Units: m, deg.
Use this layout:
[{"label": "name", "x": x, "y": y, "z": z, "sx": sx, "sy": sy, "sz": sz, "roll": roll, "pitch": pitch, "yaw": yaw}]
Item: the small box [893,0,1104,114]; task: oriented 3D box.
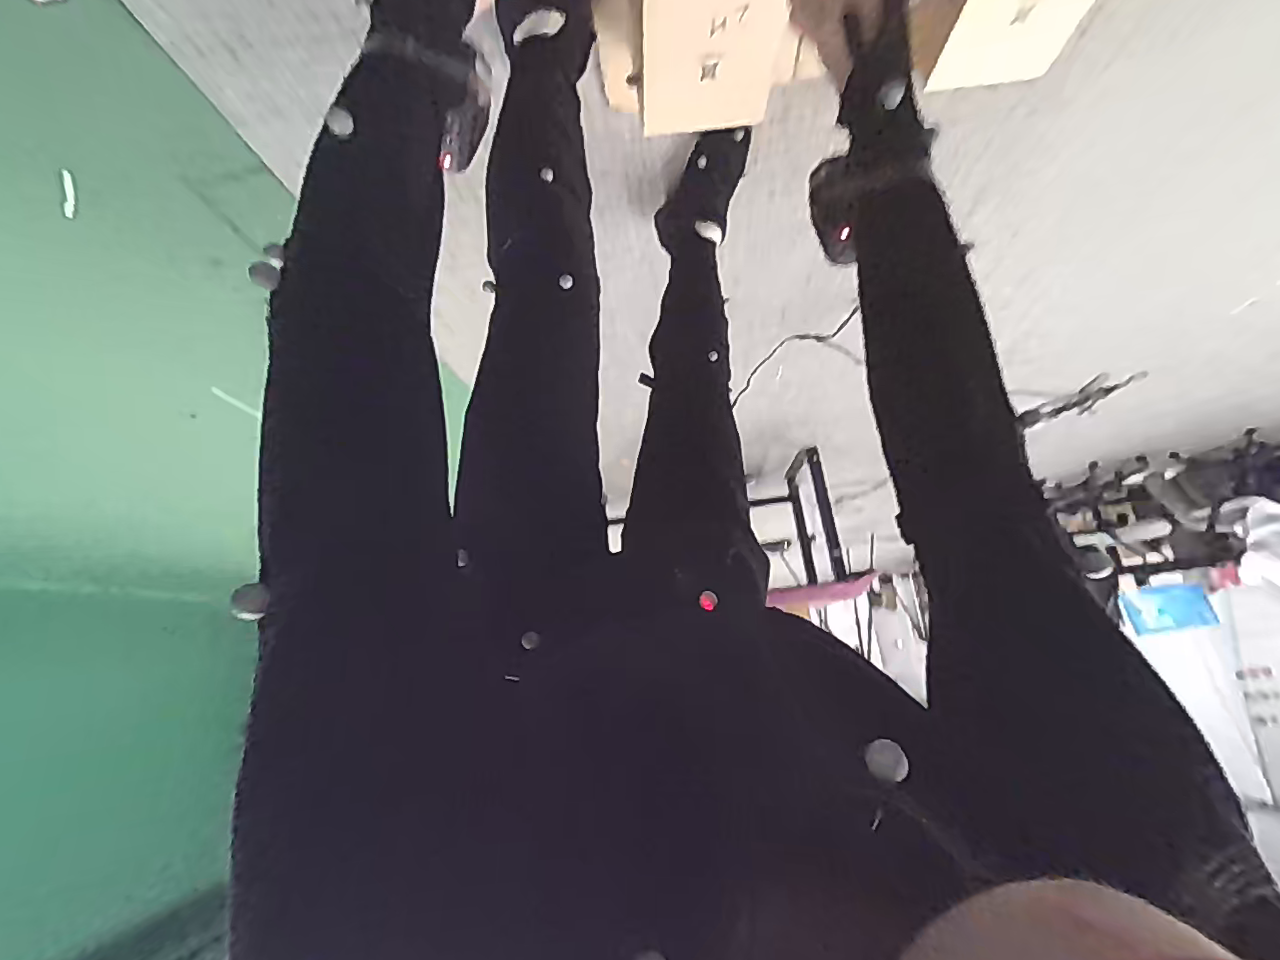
[{"label": "small box", "x": 0.444, "y": -0.609, "z": 0.681, "sx": 0.168, "sy": 0.176, "sz": 0.179, "roll": -7, "pitch": 160, "yaw": -2}]

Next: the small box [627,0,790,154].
[{"label": "small box", "x": 0.075, "y": -0.560, "z": 0.691, "sx": 0.168, "sy": 0.176, "sz": 0.179, "roll": -7, "pitch": 161, "yaw": -2}]
